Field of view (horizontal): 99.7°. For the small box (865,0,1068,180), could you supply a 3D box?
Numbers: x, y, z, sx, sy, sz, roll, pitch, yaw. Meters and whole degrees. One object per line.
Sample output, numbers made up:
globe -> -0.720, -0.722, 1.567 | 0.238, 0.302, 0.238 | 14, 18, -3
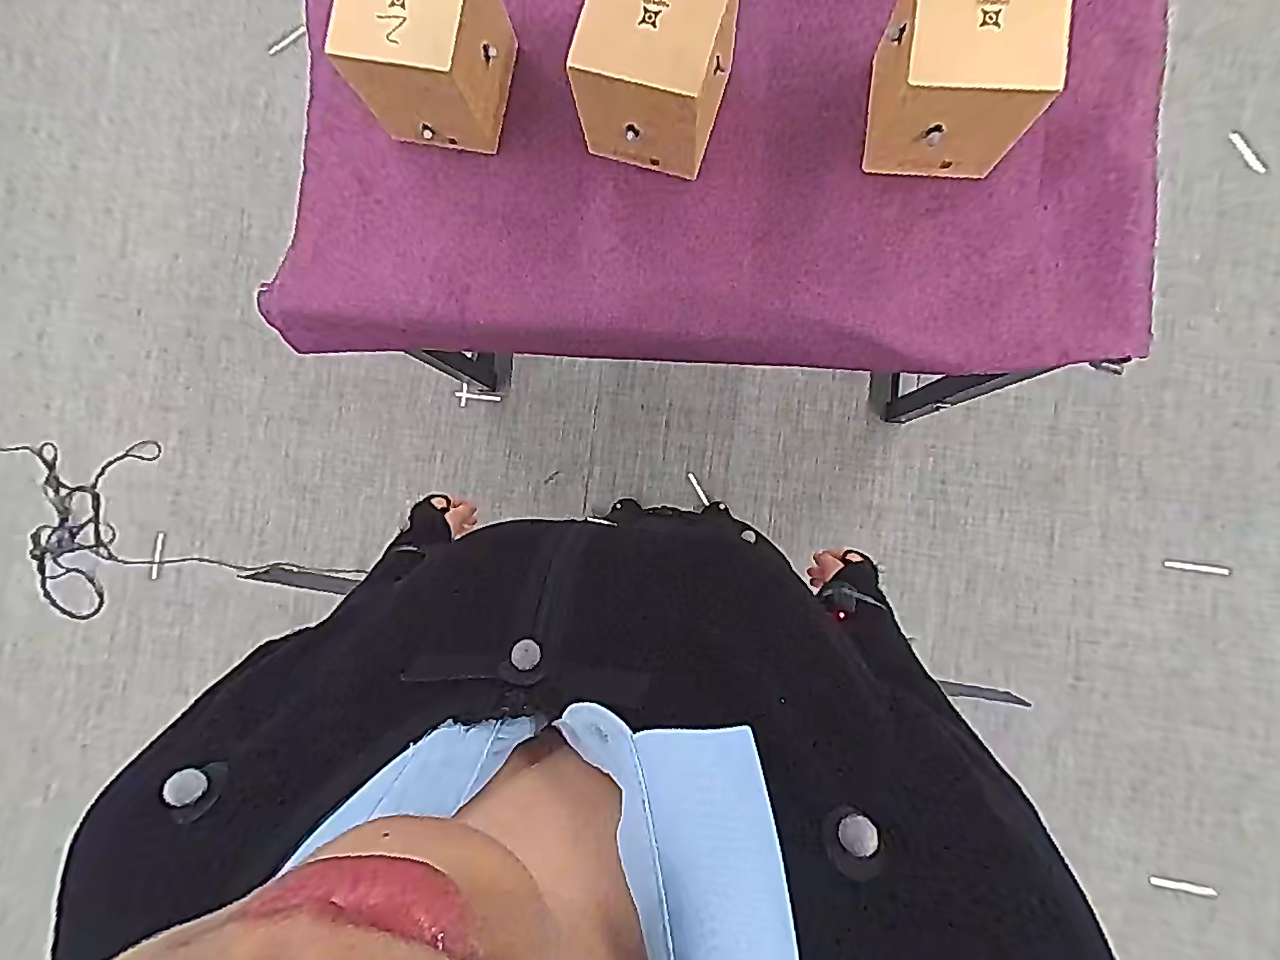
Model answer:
small box -> 0.399, -0.514, 0.687 | 0.168, 0.176, 0.179 | 7, 87, 6

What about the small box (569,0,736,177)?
small box -> 0.024, -0.544, 0.717 | 0.168, 0.176, 0.179 | 18, 89, 4
